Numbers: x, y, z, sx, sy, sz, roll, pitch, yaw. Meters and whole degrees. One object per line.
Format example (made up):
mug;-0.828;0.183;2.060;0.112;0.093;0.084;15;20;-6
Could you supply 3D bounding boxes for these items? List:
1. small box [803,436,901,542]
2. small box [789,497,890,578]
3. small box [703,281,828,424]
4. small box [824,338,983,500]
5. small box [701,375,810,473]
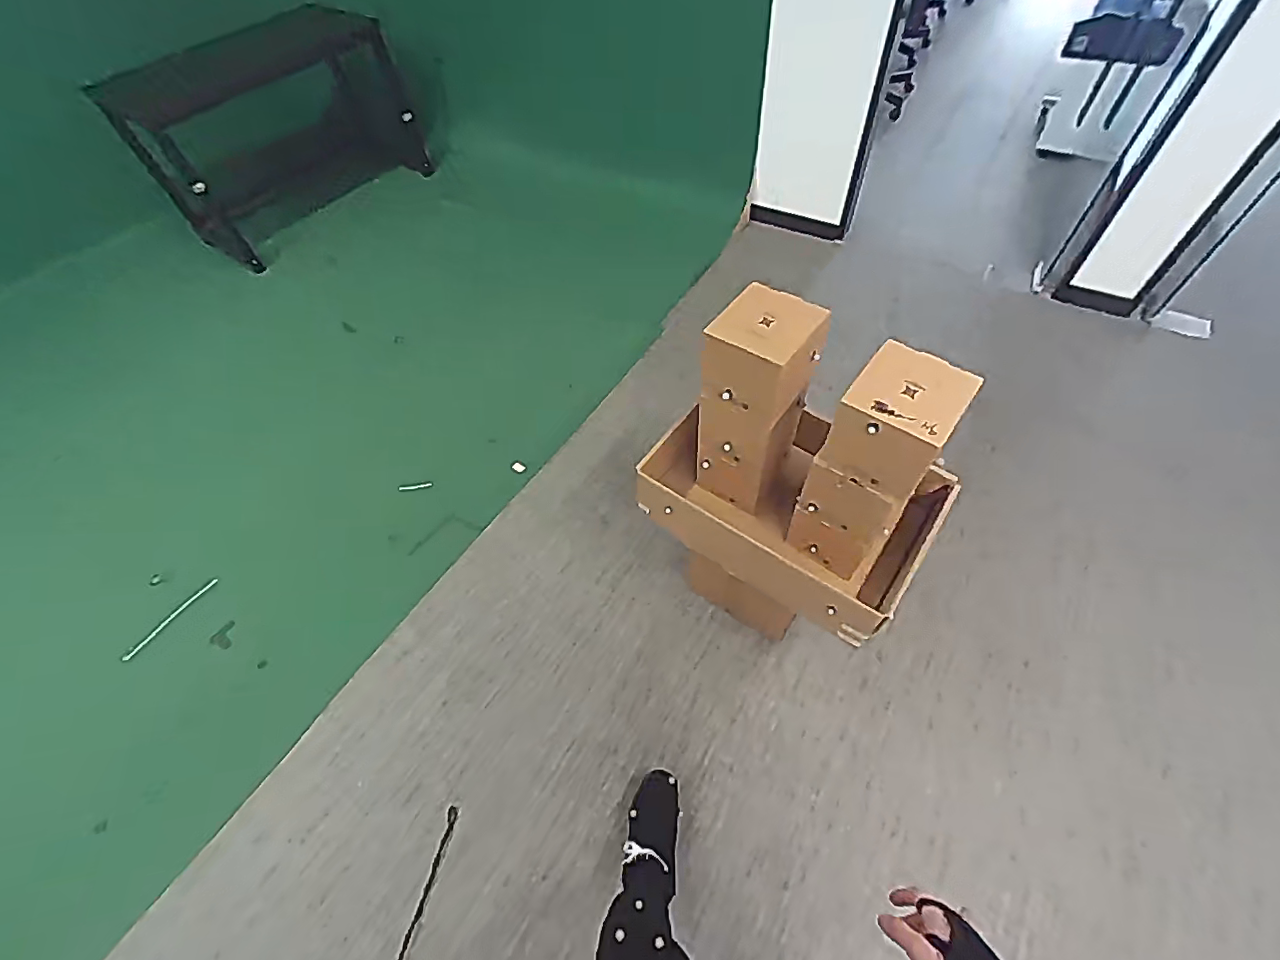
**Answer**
small box;0.437;-0.010;1.061;0.168;0.176;0.179;33;64;24
small box;0.448;0.082;1.197;0.168;0.176;0.179;32;65;23
small box;0.231;-0.242;1.037;0.168;0.176;0.179;31;63;24
small box;0.438;-0.102;0.924;0.168;0.176;0.179;32;64;24
small box;0.241;-0.151;1.171;0.168;0.176;0.179;30;63;23
